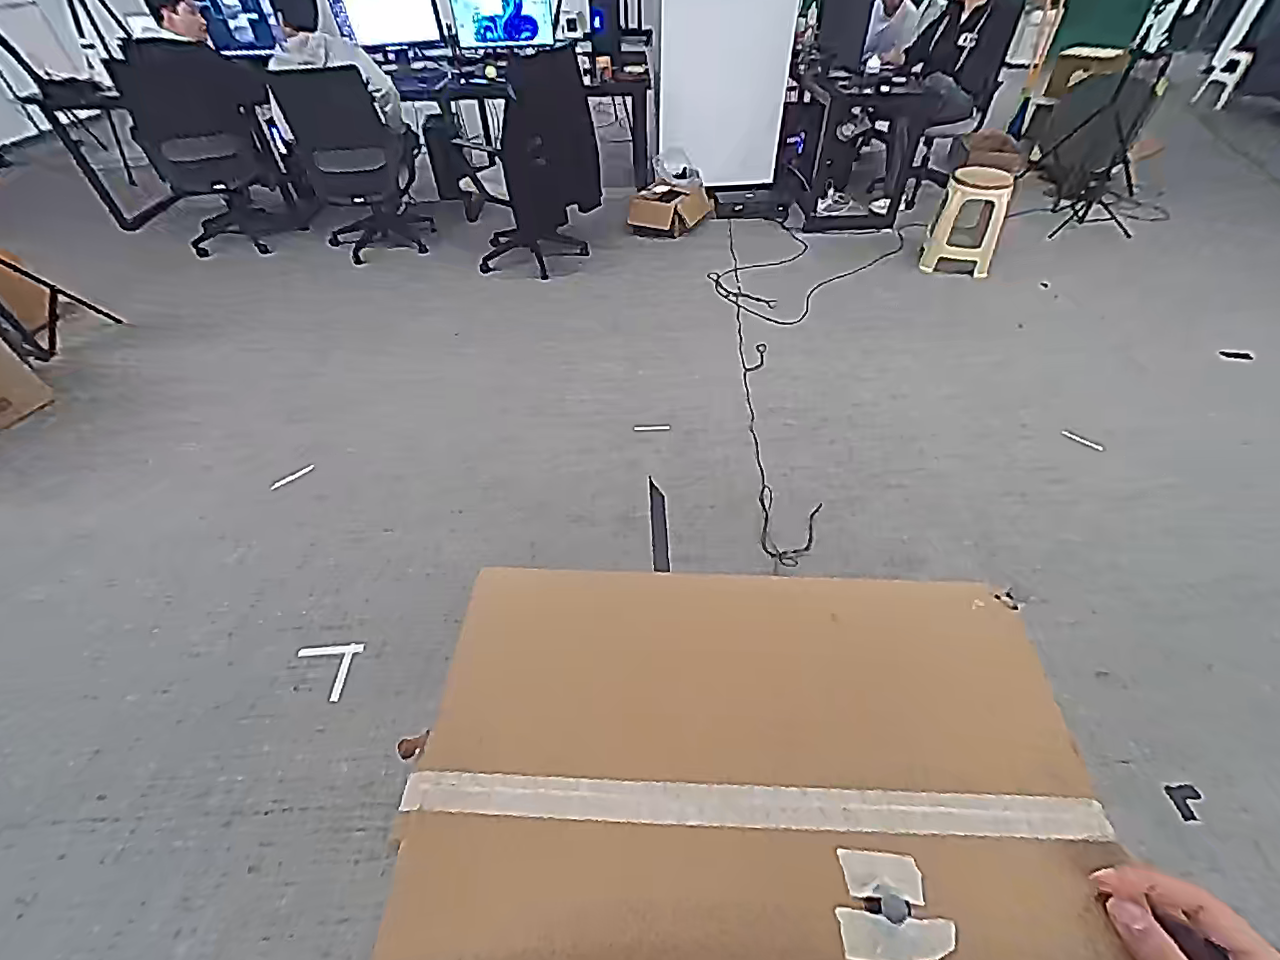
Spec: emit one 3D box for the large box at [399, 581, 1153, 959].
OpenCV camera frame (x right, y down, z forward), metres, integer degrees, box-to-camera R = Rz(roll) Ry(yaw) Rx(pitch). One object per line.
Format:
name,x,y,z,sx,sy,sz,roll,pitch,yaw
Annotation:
large box,0.071,0.297,0.442,0.408,0.320,0.320,1,50,2
